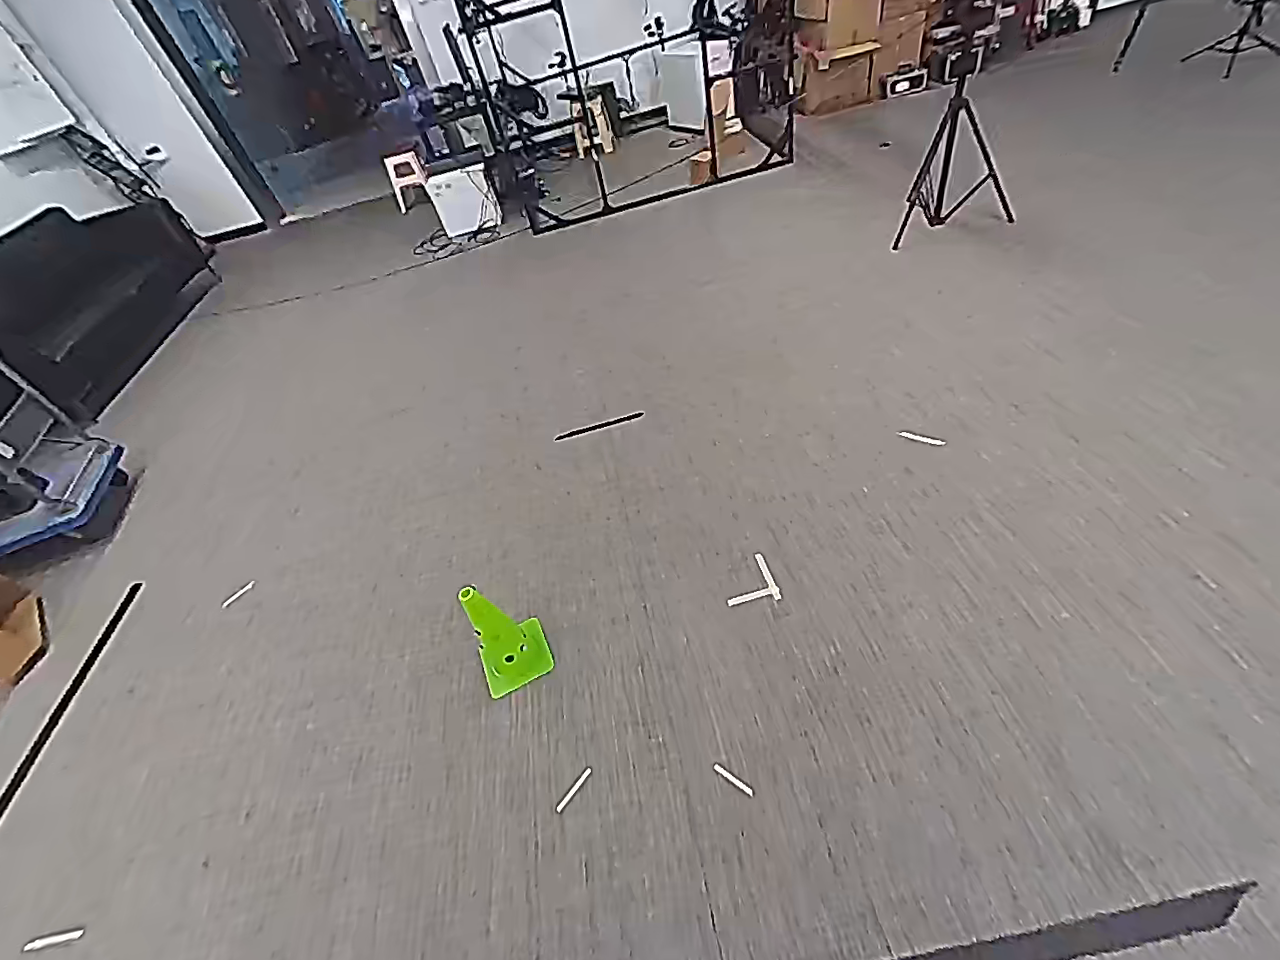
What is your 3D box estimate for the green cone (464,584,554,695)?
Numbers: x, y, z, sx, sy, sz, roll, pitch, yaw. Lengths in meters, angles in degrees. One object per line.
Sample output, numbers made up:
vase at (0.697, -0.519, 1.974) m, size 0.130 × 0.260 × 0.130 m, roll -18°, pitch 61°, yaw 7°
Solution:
green cone at (-0.407, 0.411, 1.515) m, size 0.202 × 0.368 × 0.200 m, roll -25°, pitch 45°, yaw -10°
